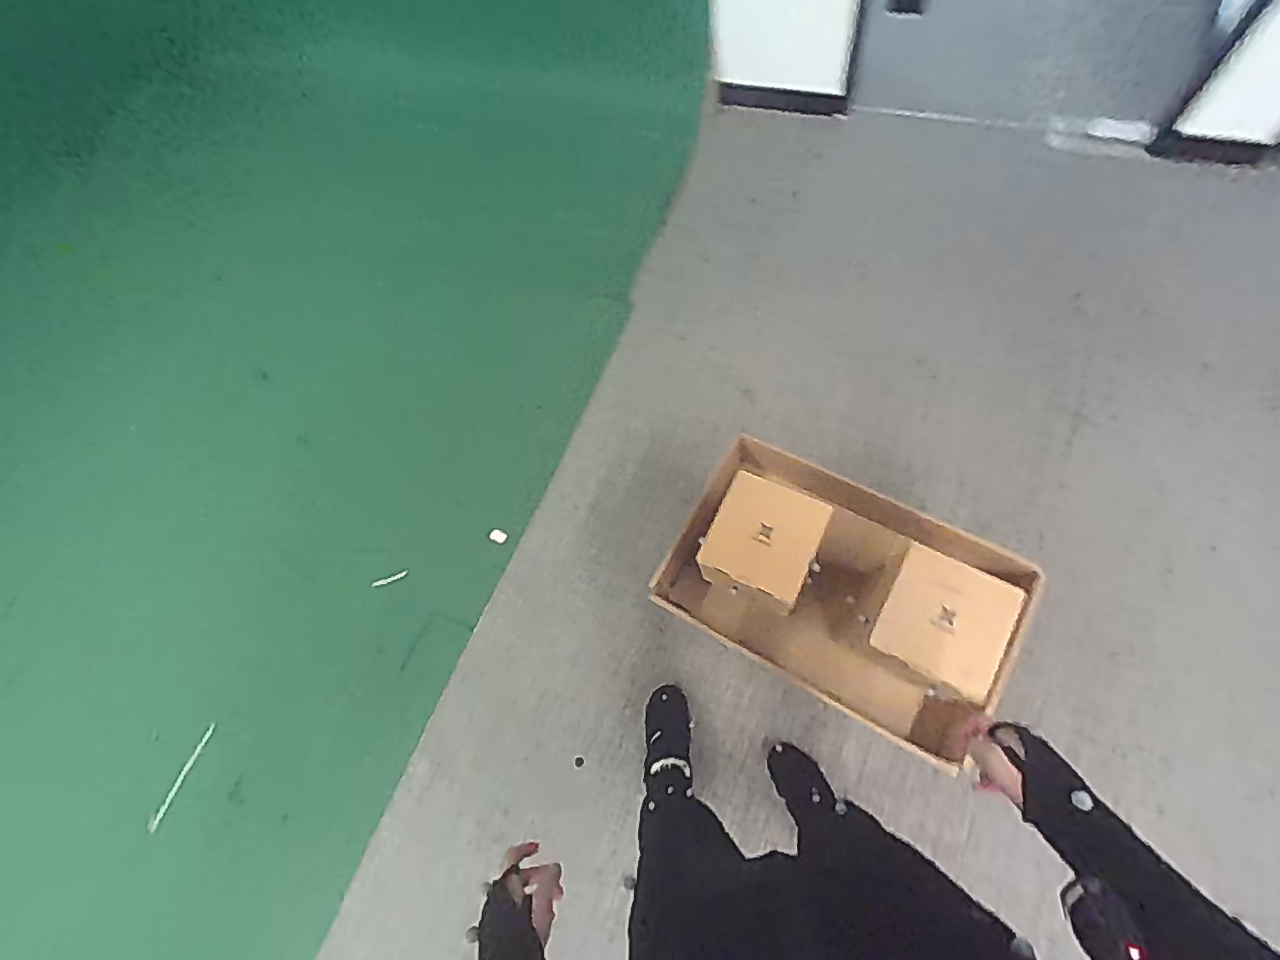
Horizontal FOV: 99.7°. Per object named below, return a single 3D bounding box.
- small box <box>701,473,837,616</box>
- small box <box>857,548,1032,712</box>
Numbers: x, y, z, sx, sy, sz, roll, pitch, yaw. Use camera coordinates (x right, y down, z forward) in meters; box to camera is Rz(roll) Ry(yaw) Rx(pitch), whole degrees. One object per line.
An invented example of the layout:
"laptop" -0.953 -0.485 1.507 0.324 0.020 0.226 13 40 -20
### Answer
"small box" 0.219 0.118 0.940 0.168 0.176 0.179 25 77 18
"small box" 0.459 0.236 0.848 0.168 0.176 0.179 27 77 18
